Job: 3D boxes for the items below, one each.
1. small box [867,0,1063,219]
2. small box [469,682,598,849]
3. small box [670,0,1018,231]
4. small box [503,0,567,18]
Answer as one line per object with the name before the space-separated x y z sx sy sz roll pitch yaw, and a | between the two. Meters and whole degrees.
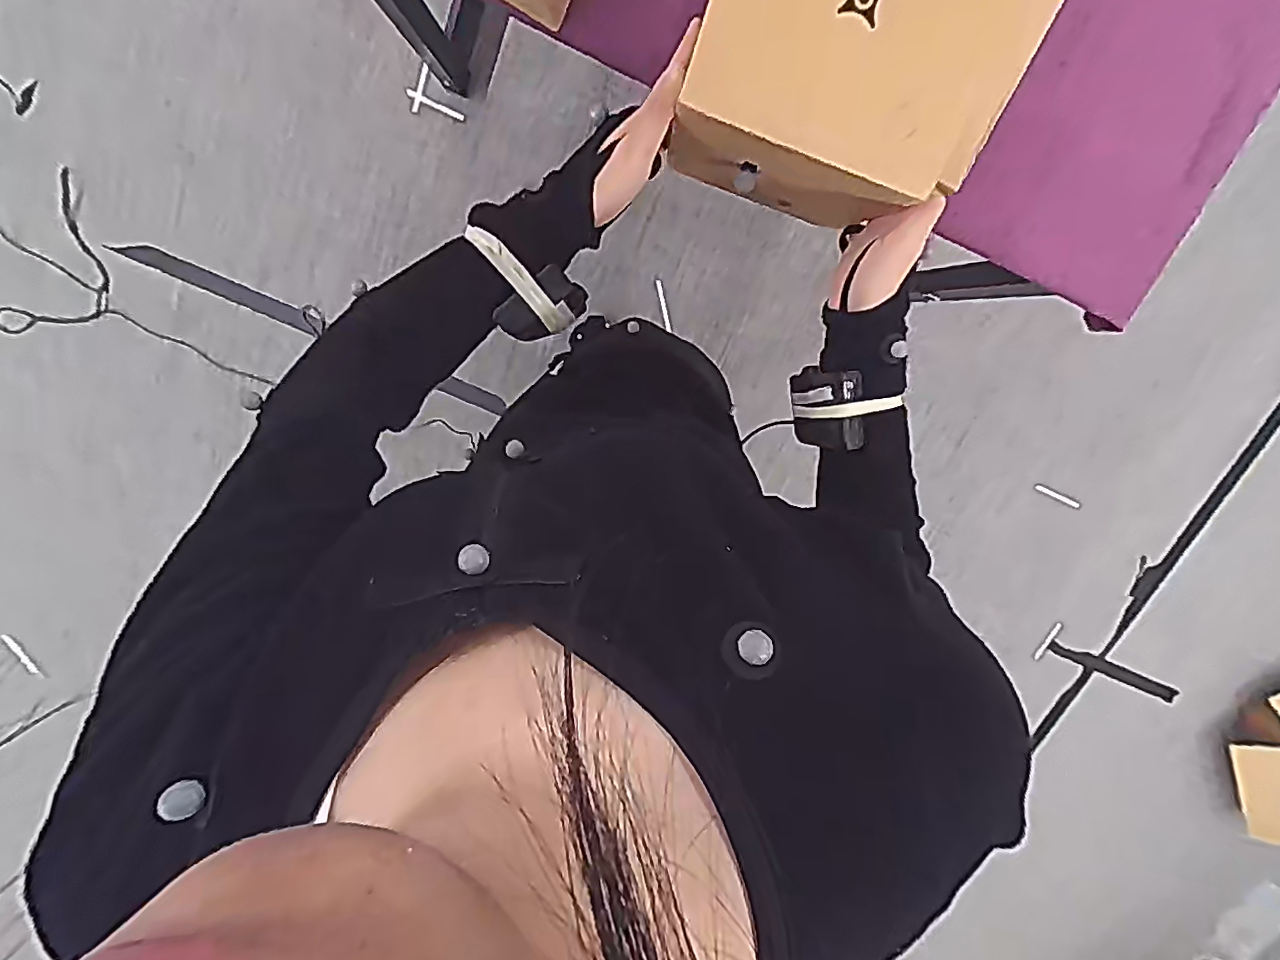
small box | 0.266 -0.404 0.565 0.168 0.176 0.179 23 106 -7
small box | -0.181 0.506 0.973 0.168 0.176 0.179 23 106 -8
small box | 0.125 -0.293 0.374 0.168 0.176 0.179 18 106 -5
small box | -0.127 -0.583 0.497 0.179 0.176 0.168 27 104 -9
